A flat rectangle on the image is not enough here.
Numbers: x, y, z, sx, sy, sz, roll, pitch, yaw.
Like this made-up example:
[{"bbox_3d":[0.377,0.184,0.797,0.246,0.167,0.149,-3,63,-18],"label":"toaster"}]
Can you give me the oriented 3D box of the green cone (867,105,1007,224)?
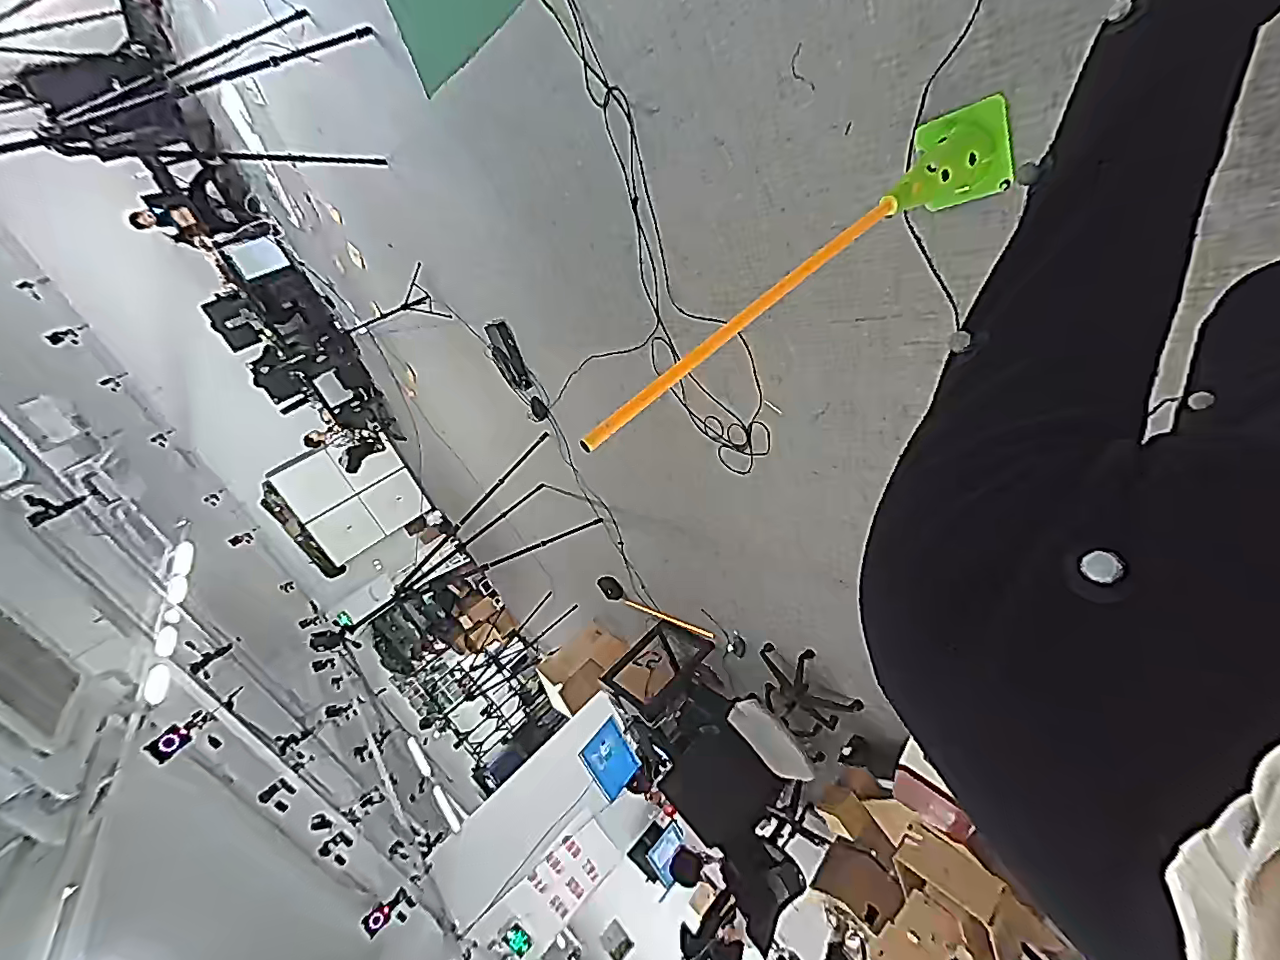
[{"bbox_3d":[0.628,-0.658,1.212,0.202,0.368,0.200,11,131,55],"label":"green cone"}]
